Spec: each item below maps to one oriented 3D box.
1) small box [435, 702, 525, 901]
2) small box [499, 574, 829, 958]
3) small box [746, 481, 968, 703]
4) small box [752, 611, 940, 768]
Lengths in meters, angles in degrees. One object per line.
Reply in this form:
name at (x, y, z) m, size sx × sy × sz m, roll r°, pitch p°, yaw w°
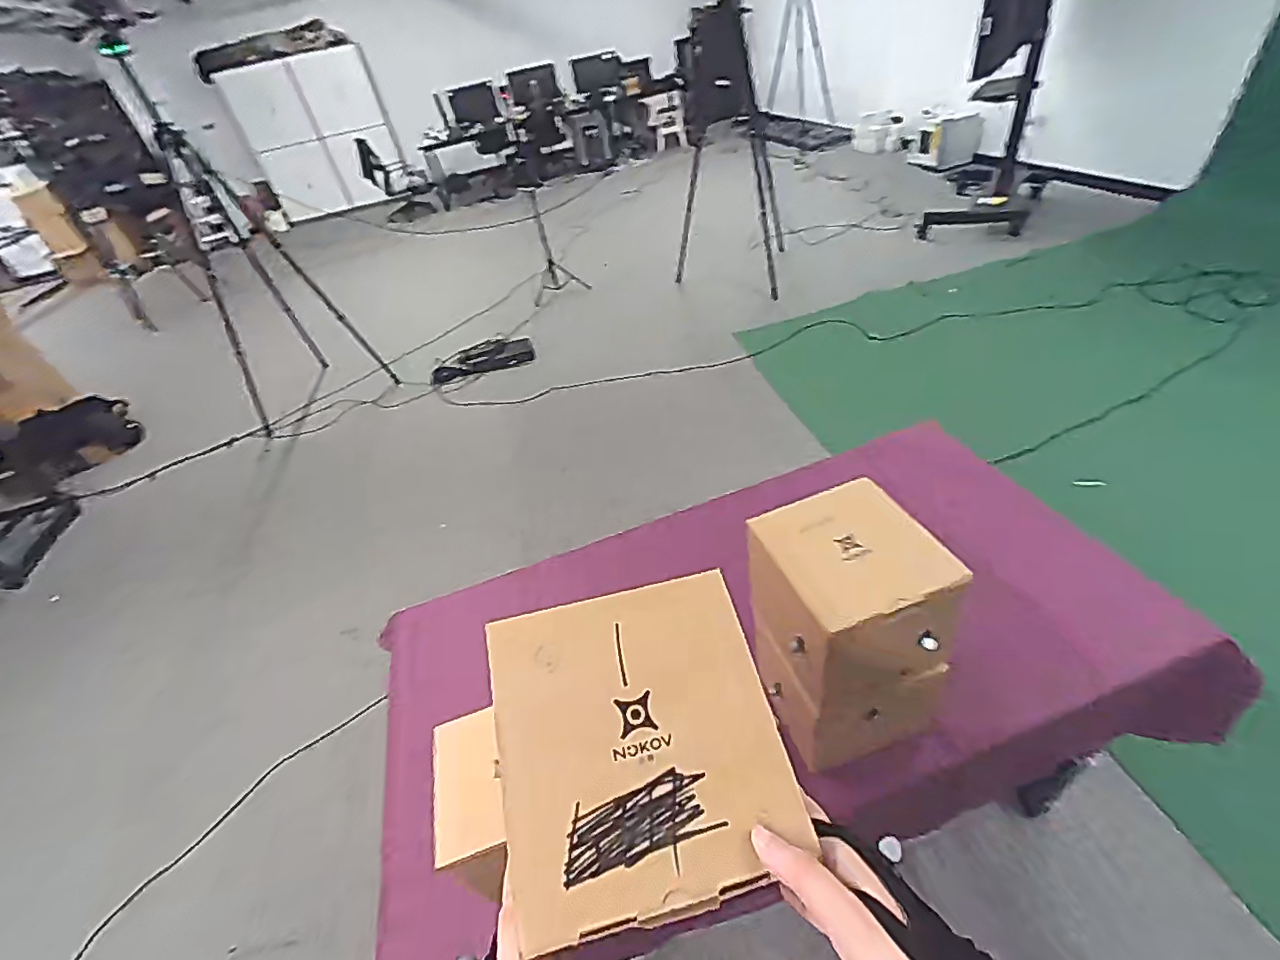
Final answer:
small box at (-0.145, 0.400, 0.695) m, size 0.179 × 0.176 × 0.168 m, roll -18°, pitch 40°, yaw -8°
small box at (0.005, 0.193, 0.389) m, size 0.168 × 0.176 × 0.179 m, roll -11°, pitch 58°, yaw -8°
small box at (0.242, 0.137, 0.642) m, size 0.168 × 0.176 × 0.179 m, roll -19°, pitch 40°, yaw -8°
small box at (0.271, 0.262, 0.742) m, size 0.179 × 0.176 × 0.168 m, roll -18°, pitch 41°, yaw -6°
